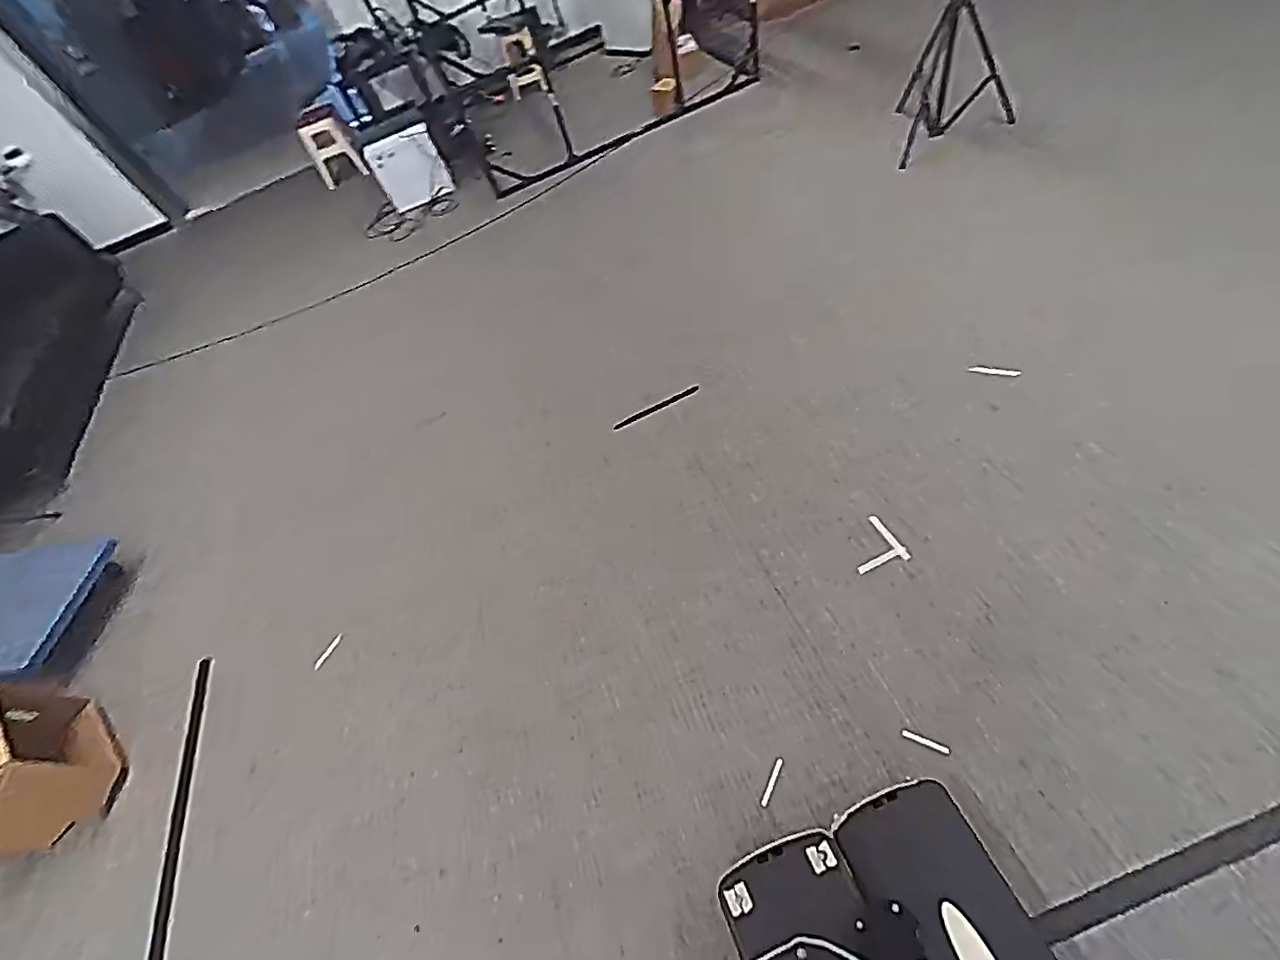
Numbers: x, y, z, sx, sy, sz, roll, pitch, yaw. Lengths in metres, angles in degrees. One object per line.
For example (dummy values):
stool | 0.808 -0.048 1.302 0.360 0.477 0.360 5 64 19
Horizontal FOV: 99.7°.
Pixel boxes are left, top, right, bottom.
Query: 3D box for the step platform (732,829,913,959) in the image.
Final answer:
step platform | 0.444 1.077 1.029 0.286 0.204 0.684 -26 51 -2
